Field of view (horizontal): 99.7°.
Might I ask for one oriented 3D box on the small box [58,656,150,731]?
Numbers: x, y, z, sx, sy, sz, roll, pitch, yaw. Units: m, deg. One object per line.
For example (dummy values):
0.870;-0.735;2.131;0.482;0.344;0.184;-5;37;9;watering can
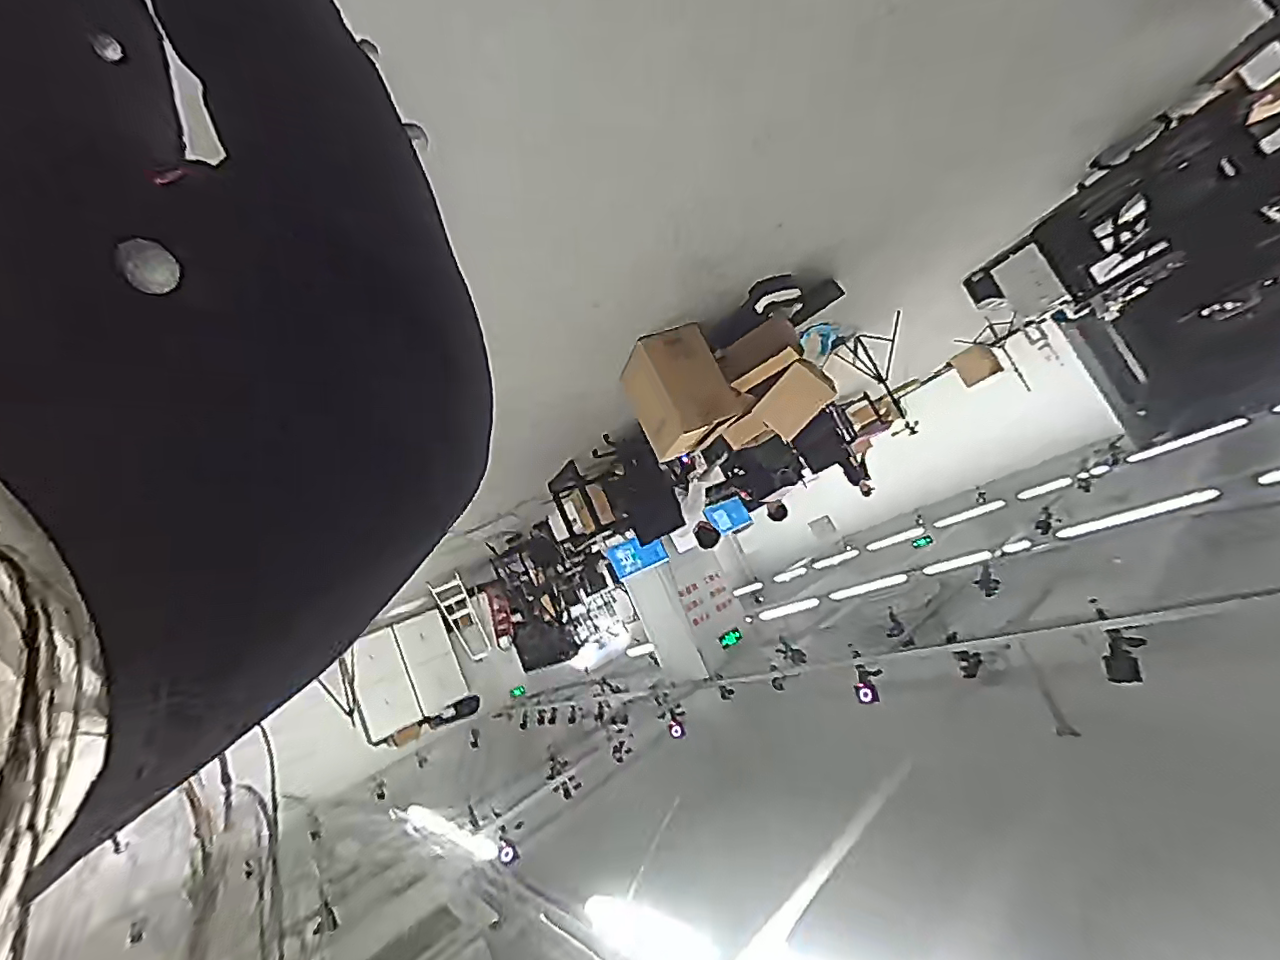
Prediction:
-1.786;0.711;1.801;0.179;0.176;0.168;-20;171;-37;small box
